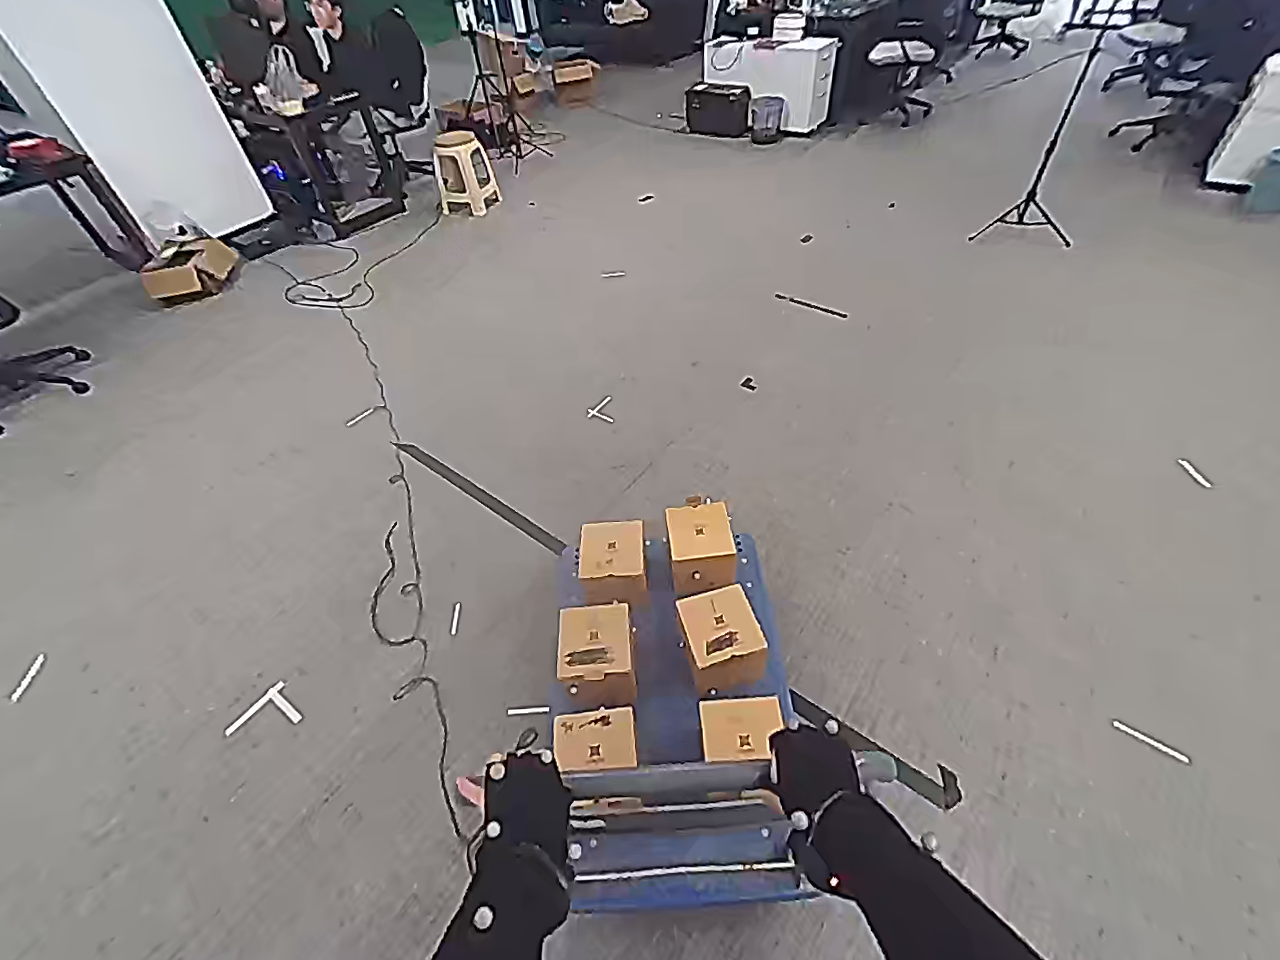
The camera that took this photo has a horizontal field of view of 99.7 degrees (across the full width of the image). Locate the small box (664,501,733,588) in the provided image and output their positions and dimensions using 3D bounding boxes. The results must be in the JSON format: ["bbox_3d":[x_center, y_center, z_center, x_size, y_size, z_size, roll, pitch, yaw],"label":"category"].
[{"bbox_3d":[0.160,0.185,1.493,0.168,0.176,0.179,-7,47,0],"label":"small box"}]

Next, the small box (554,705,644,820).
[{"bbox_3d":[-0.084,0.597,1.134,0.168,0.176,0.179,-7,47,-1],"label":"small box"}]

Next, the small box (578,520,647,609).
[{"bbox_3d":[-0.070,0.230,1.473,0.168,0.176,0.179,-4,48,3],"label":"small box"}]

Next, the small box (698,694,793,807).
[{"bbox_3d":[0.213,0.570,1.131,0.168,0.176,0.179,-4,46,2],"label":"small box"}]

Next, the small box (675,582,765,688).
[{"bbox_3d":[0.188,0.382,1.306,0.168,0.176,0.179,-14,47,-7],"label":"small box"}]
